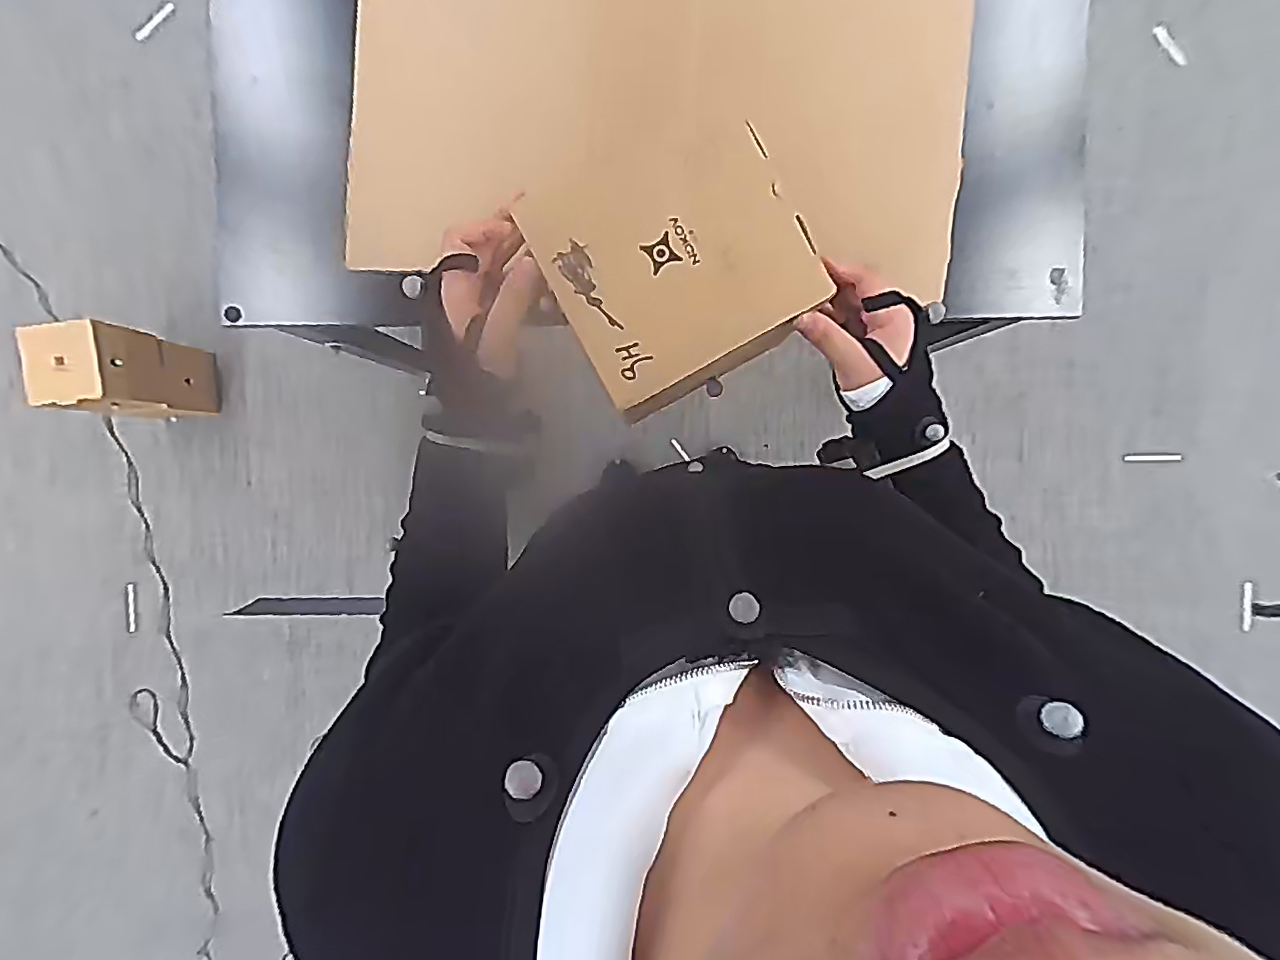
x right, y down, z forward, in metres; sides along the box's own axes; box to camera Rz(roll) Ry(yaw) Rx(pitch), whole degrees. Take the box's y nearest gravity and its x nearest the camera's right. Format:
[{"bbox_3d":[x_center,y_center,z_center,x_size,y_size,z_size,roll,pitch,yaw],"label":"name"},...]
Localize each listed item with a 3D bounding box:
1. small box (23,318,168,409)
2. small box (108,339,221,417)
[{"bbox_3d":[-1.255,-0.262,1.262,0.168,0.176,0.179,-7,92,0],"label":"small box"},{"bbox_3d":[-1.252,-0.263,1.425,0.168,0.176,0.179,-5,93,1],"label":"small box"}]
